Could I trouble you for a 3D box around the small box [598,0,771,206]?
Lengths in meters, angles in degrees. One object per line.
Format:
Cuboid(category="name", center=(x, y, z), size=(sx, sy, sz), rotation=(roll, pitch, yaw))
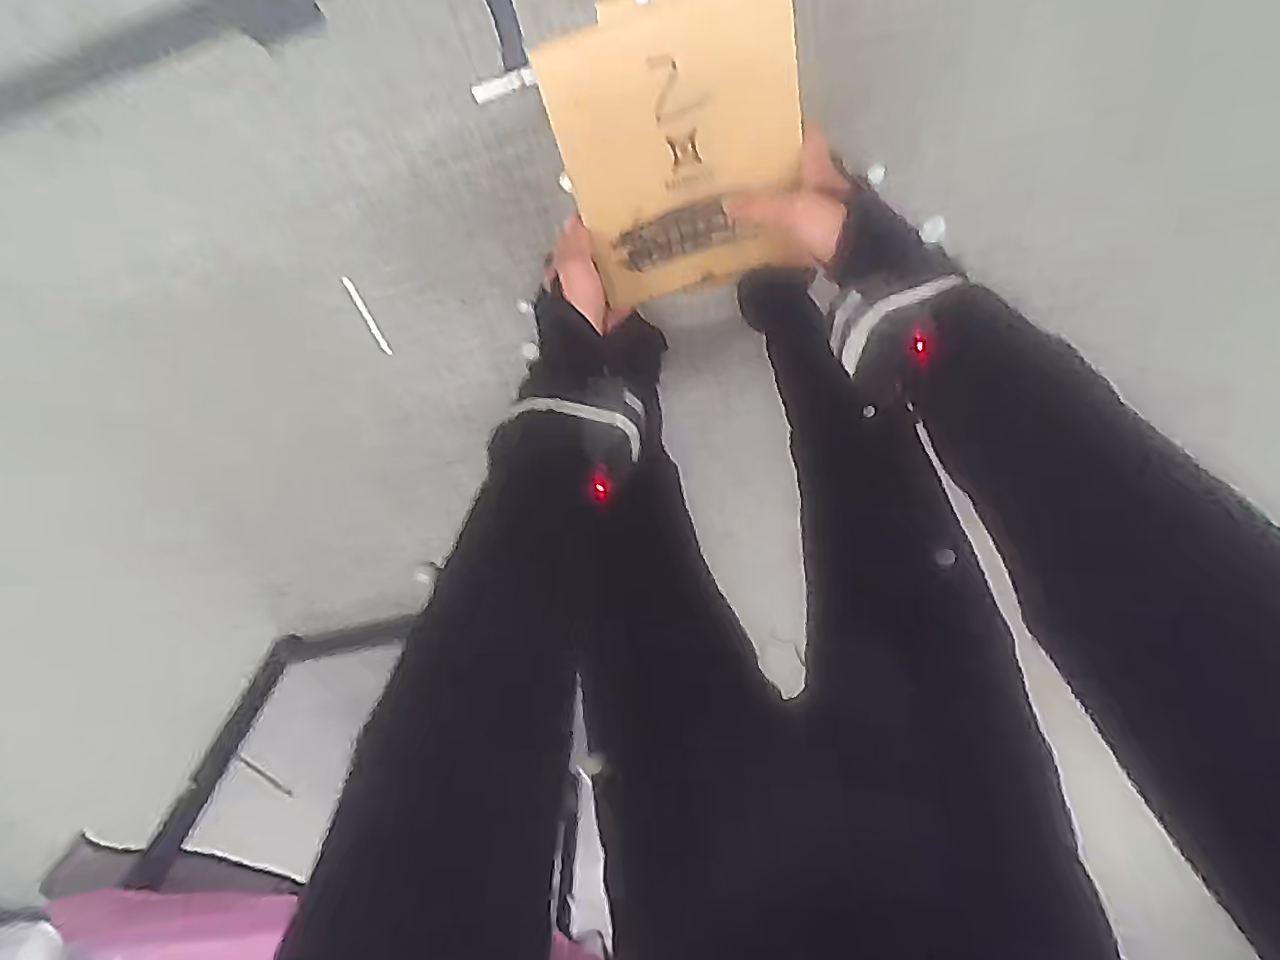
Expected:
Cuboid(category="small box", center=(0.050, -0.444, 0.628), size=(0.168, 0.176, 0.179), rotation=(-10, 128, 6))
